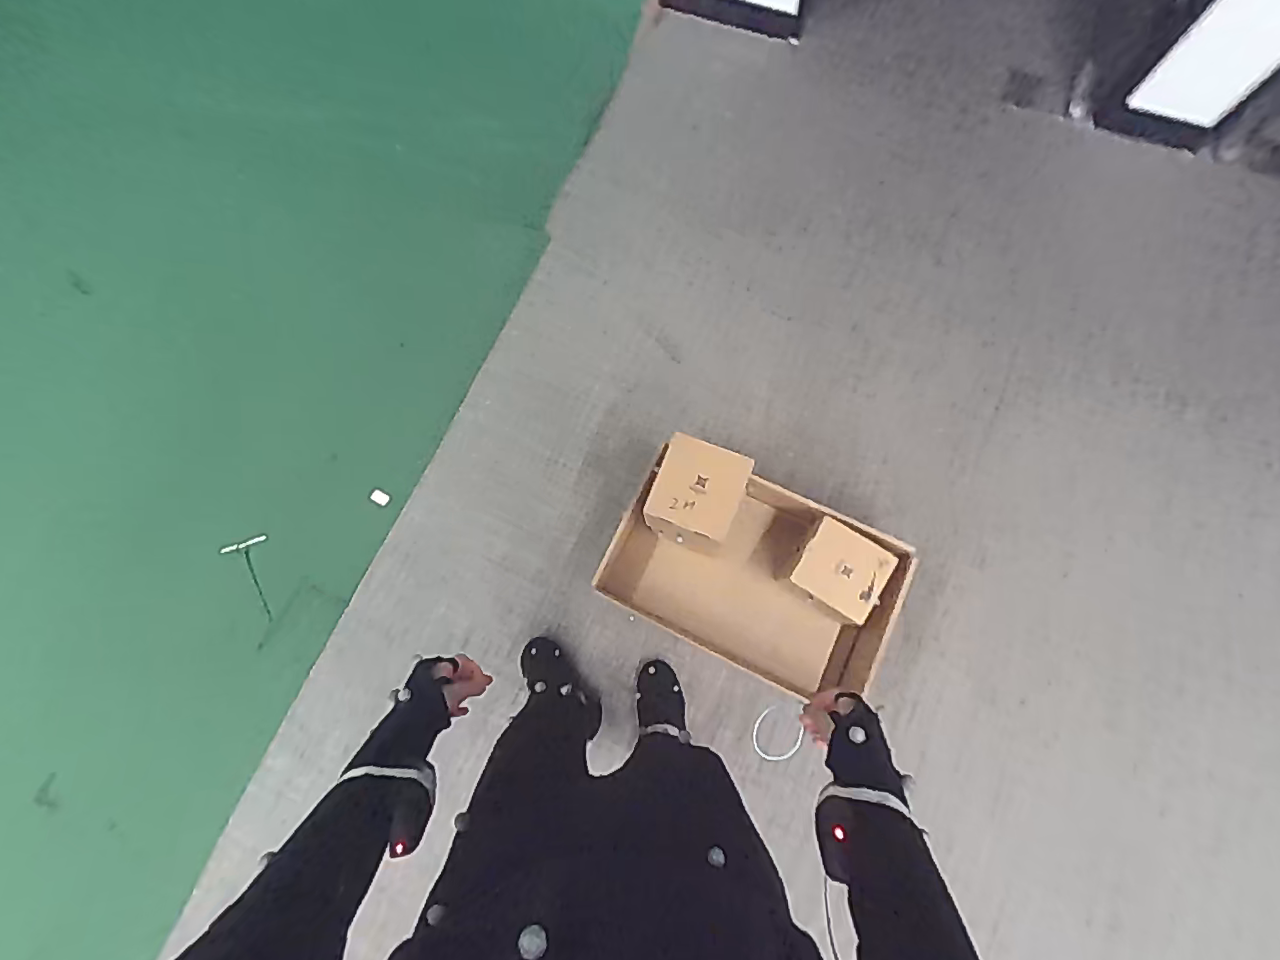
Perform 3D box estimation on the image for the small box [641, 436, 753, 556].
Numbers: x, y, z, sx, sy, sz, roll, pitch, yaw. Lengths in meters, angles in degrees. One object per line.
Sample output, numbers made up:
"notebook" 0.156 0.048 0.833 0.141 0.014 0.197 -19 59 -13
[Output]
"small box" 0.113 0.039 1.101 0.168 0.176 0.179 23 79 9
